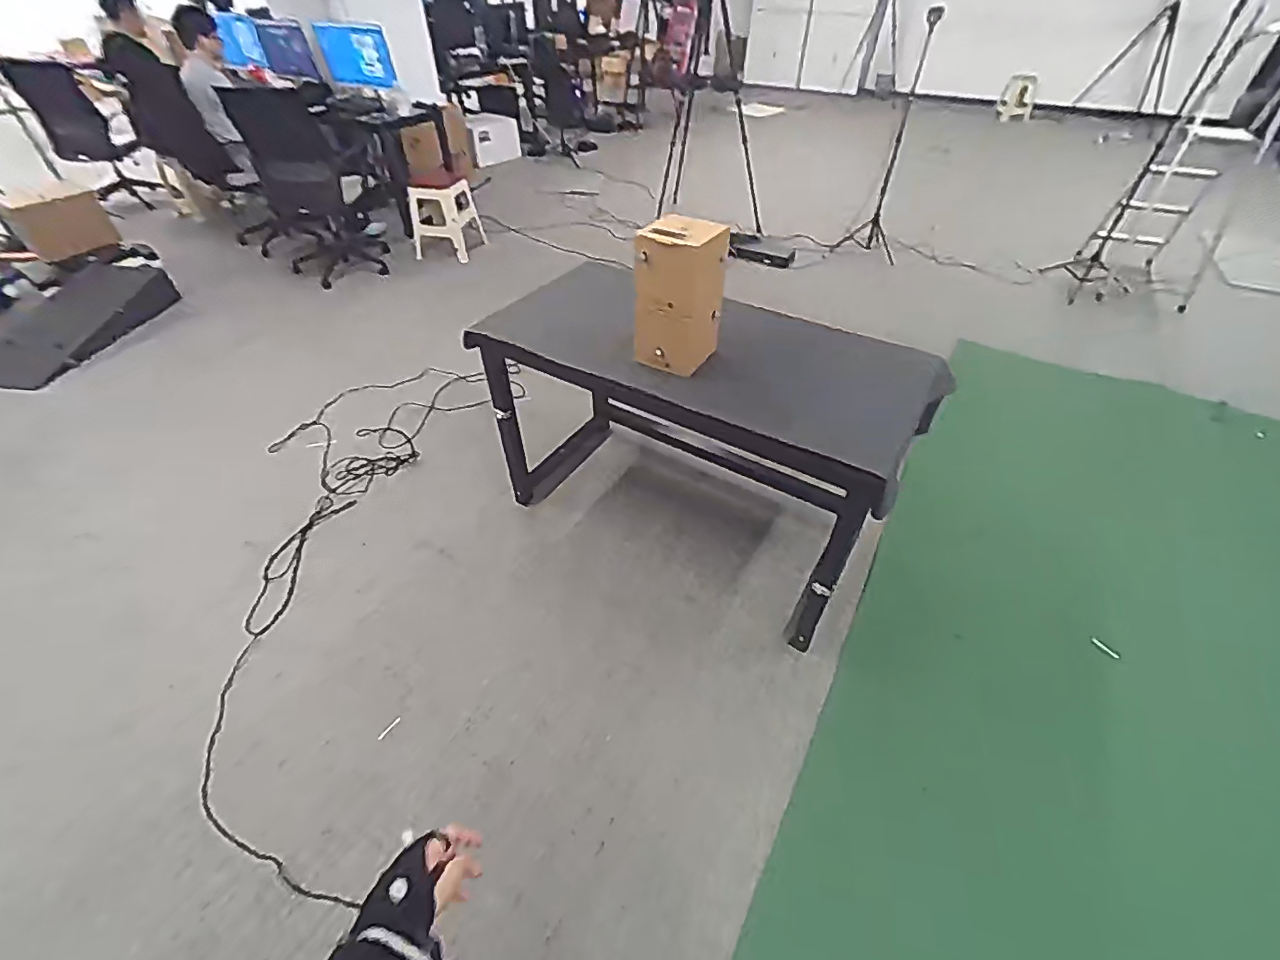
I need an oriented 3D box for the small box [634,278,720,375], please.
[{"bbox_3d":[0.093,-0.405,1.427,0.168,0.176,0.179,23,48,22],"label":"small box"}]
